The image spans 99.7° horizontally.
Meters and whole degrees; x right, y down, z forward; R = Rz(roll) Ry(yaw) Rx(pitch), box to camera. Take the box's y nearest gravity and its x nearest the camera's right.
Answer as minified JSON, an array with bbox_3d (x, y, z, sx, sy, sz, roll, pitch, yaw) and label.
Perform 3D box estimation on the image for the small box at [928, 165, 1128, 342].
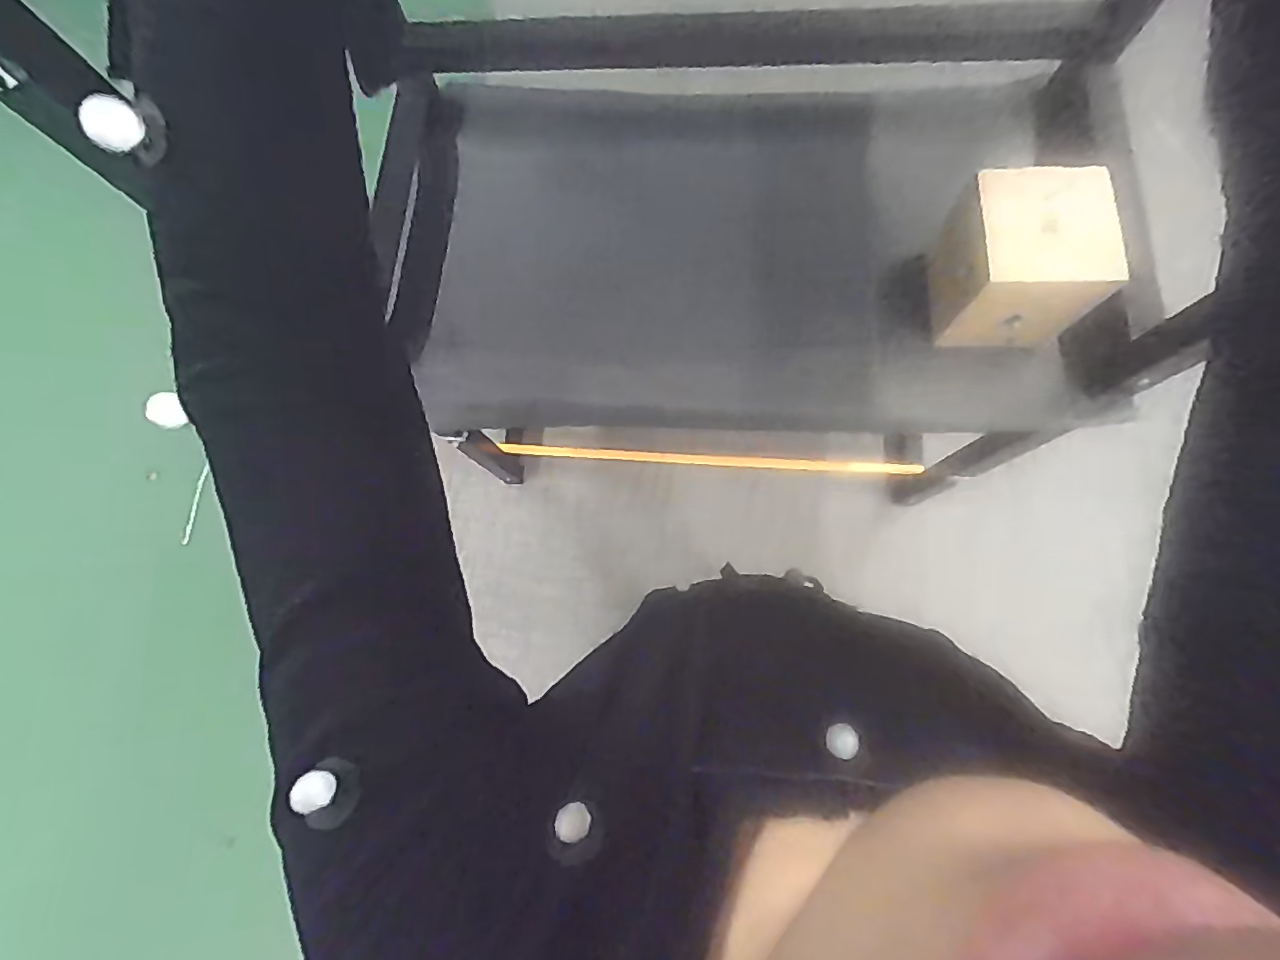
[{"bbox_3d":[0.535,-0.312,0.774,0.168,0.176,0.179,1,75,5],"label":"small box"}]
